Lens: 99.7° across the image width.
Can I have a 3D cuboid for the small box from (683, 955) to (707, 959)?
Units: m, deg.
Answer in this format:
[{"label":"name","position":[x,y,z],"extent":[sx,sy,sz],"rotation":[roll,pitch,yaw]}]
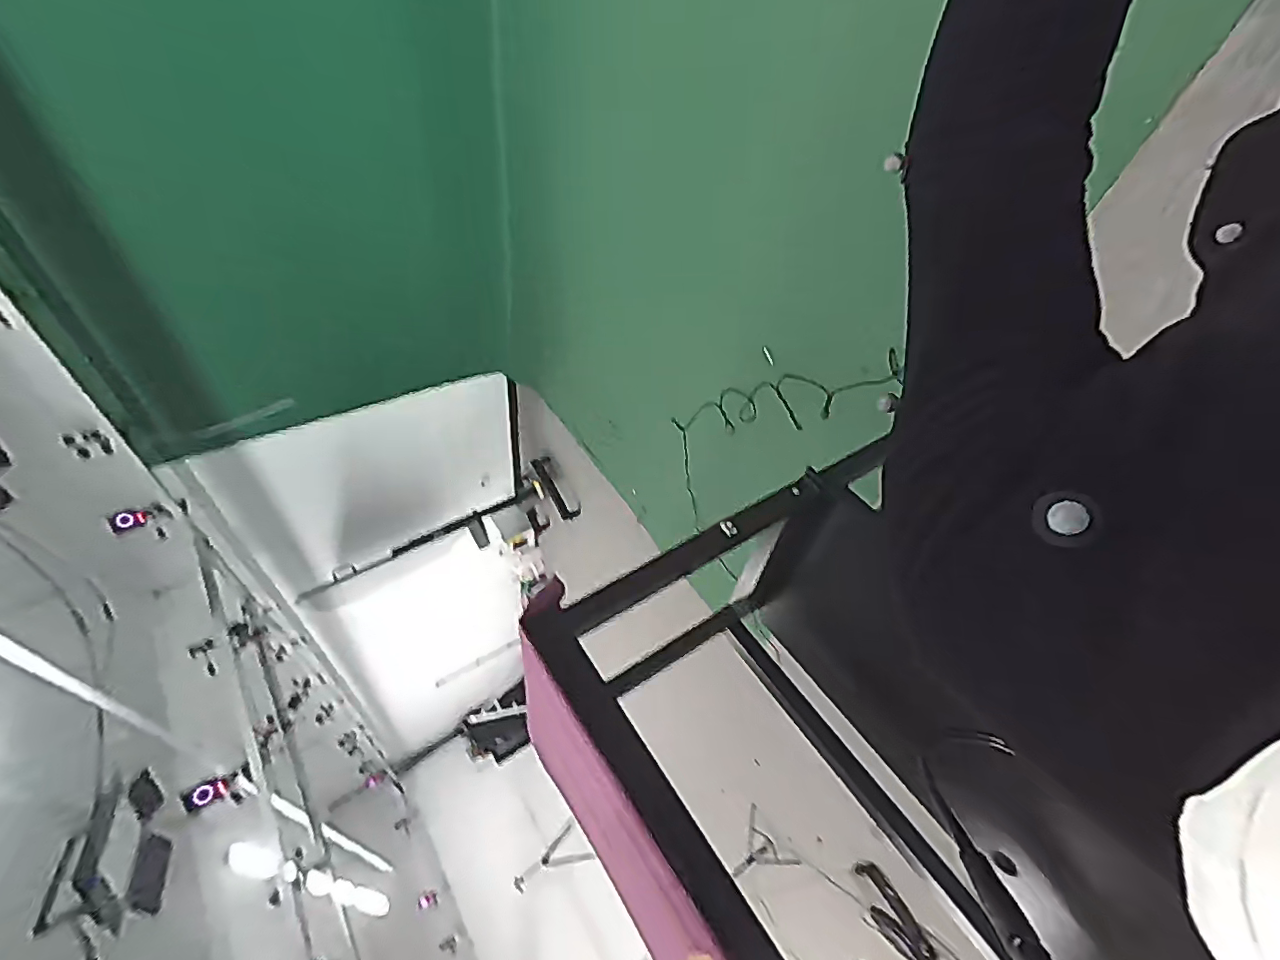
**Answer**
[{"label":"small box","position":[0.066,0.732,0.664],"extent":[0.179,0.176,0.168],"rotation":[48,148,30]}]
